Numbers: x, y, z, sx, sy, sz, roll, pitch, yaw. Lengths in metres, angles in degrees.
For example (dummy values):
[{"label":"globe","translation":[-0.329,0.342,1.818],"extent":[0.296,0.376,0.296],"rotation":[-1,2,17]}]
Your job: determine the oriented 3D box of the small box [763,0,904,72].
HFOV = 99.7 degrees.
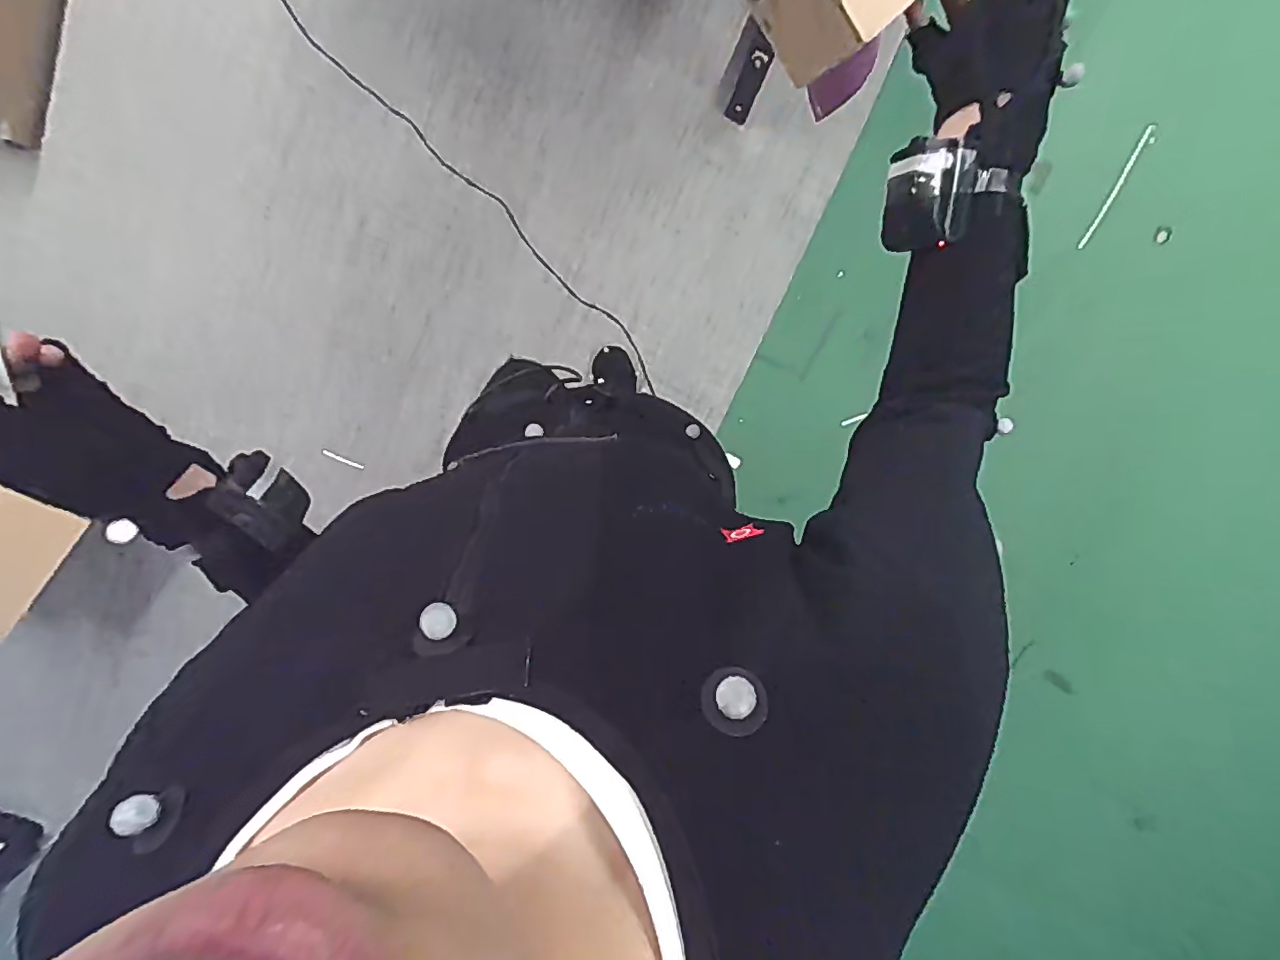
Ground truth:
[{"label":"small box","translation":[0.167,-0.446,0.393],"extent":[0.179,0.176,0.168],"rotation":[-37,112,19]}]
